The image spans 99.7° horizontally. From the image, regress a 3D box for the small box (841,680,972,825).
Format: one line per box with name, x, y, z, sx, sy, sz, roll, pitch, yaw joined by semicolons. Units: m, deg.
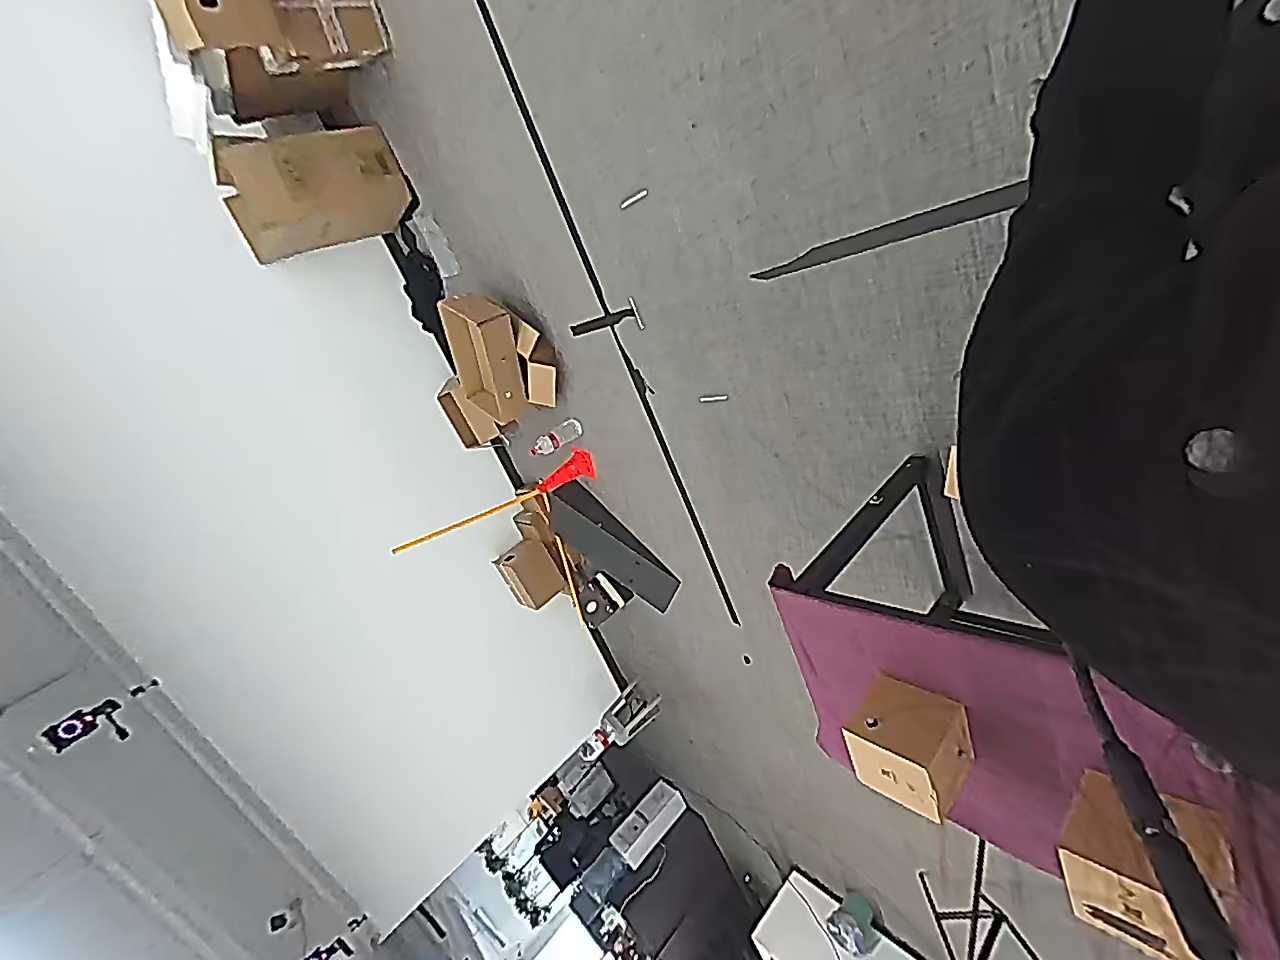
small box;0.548;0.545;1.109;0.179;0.176;0.168;7;126;51
